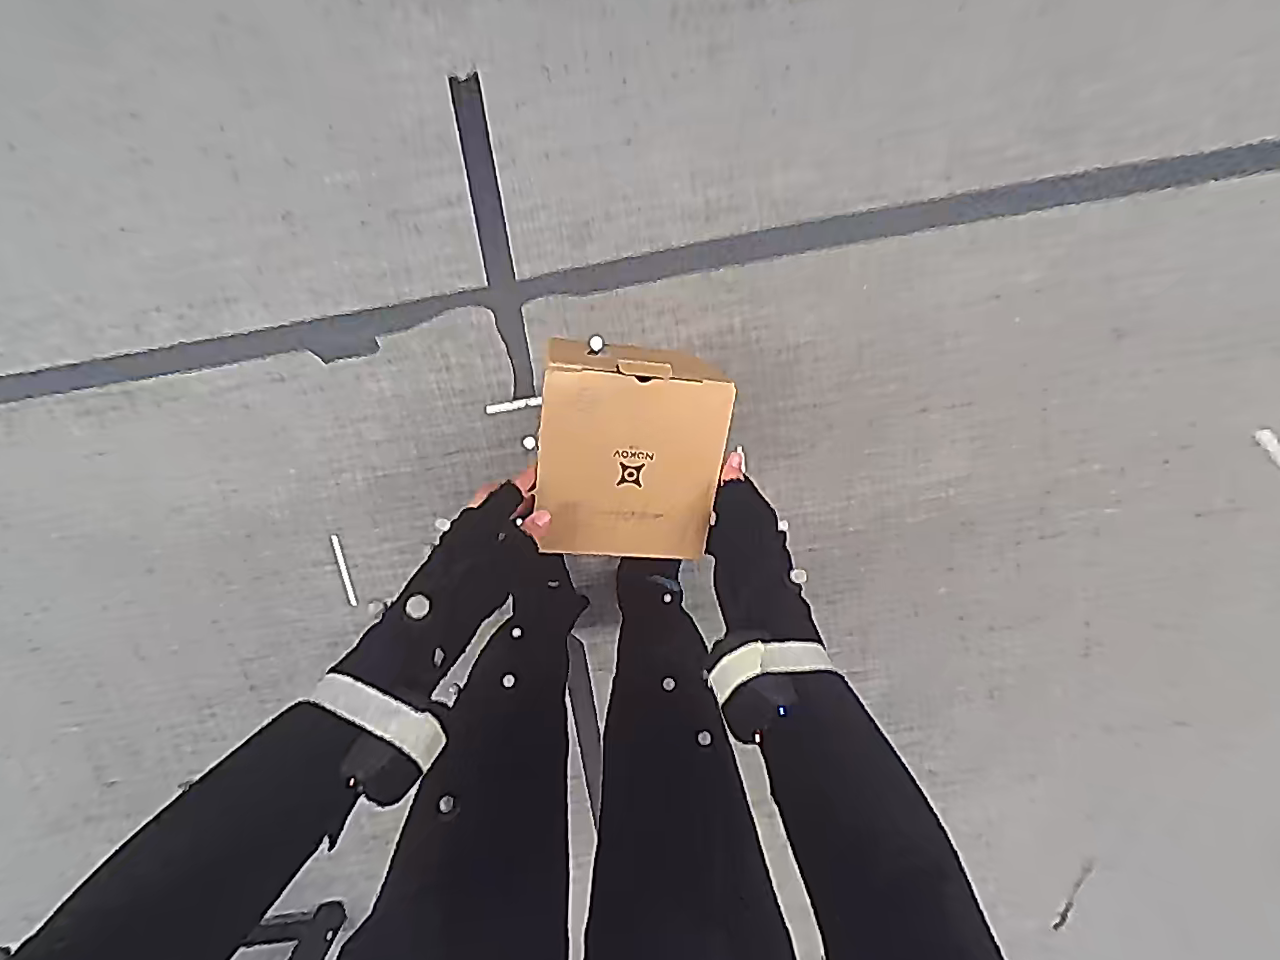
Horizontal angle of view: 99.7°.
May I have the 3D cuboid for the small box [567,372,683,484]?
[{"bbox_3d":[-0.026,-0.096,0.934,0.179,0.176,0.168,-5,103,-1],"label":"small box"}]
